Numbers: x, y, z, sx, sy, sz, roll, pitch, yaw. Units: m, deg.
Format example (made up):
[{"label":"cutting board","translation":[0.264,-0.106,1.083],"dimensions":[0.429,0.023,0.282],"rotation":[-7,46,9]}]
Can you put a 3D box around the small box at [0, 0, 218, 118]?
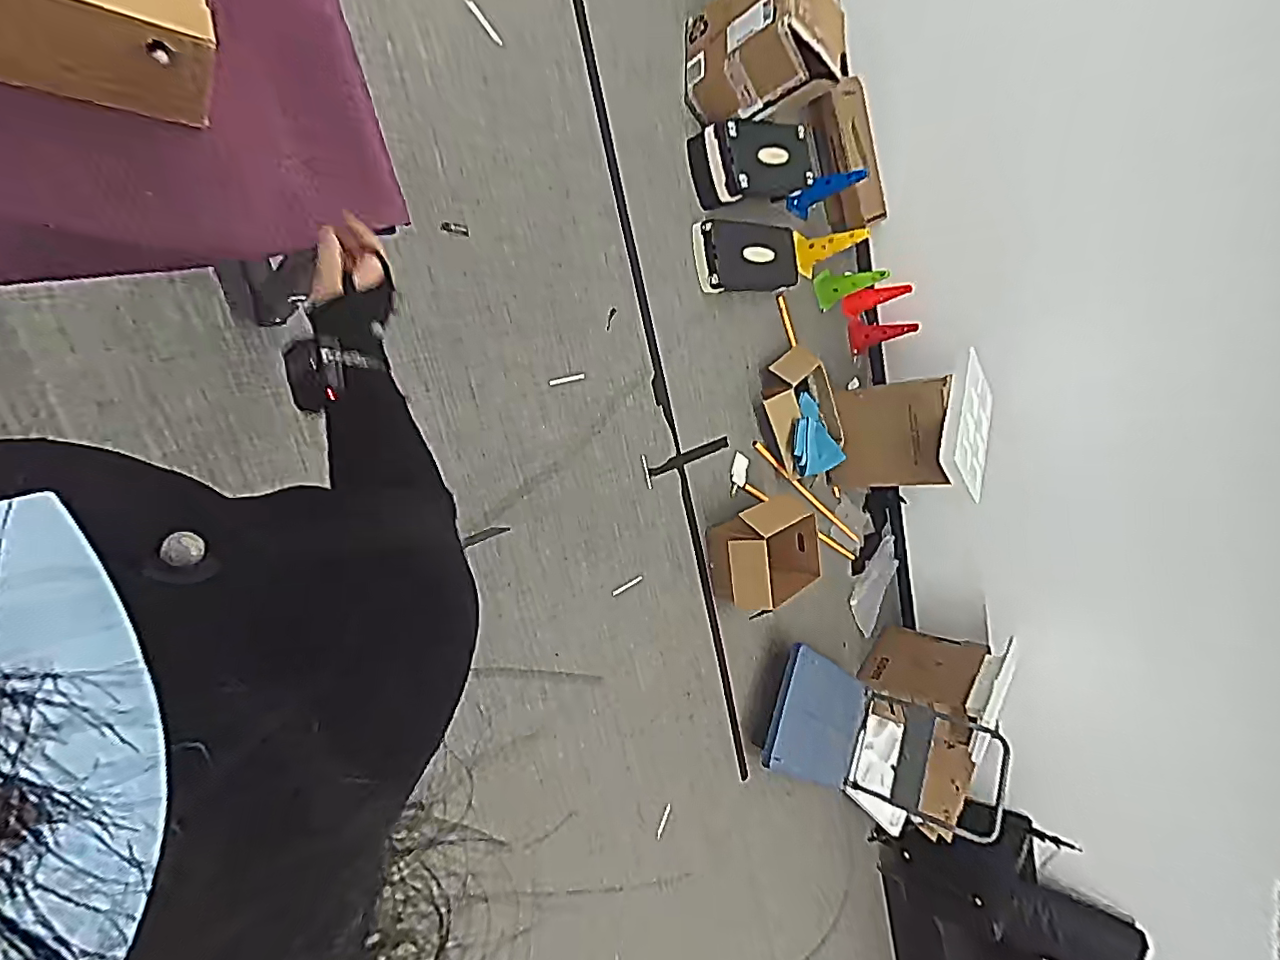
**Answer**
[{"label":"small box","translation":[-0.512,-0.471,0.492],"dimensions":[0.179,0.176,0.168],"rotation":[-11,98,-42]}]
